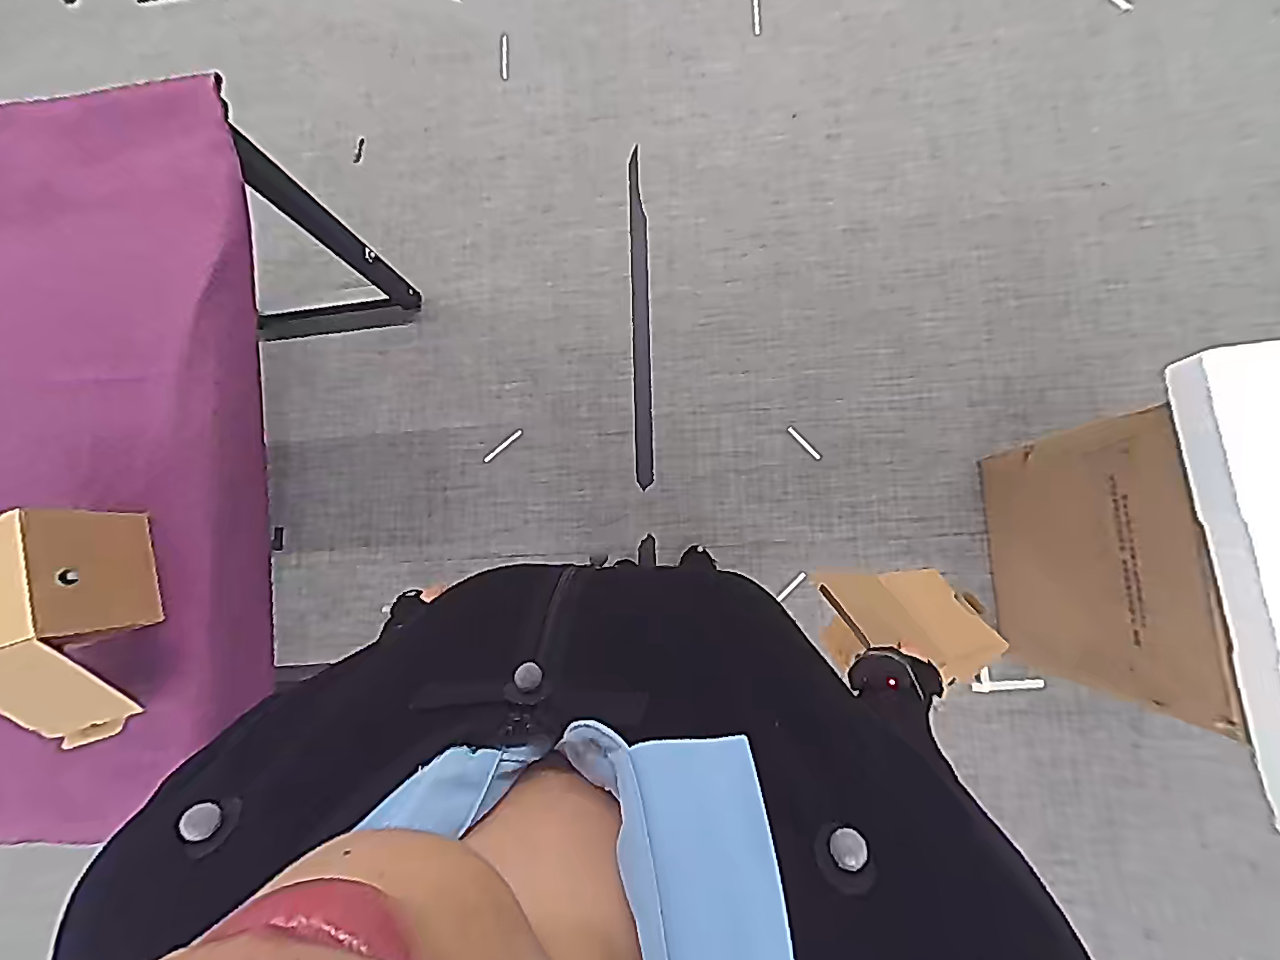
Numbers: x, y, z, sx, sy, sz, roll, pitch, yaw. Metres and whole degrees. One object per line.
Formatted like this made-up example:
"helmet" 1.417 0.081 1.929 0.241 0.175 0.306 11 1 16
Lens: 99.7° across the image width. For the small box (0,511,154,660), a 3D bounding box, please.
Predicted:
"small box" -0.849 0.151 0.771 0.168 0.176 0.179 -17 81 4
